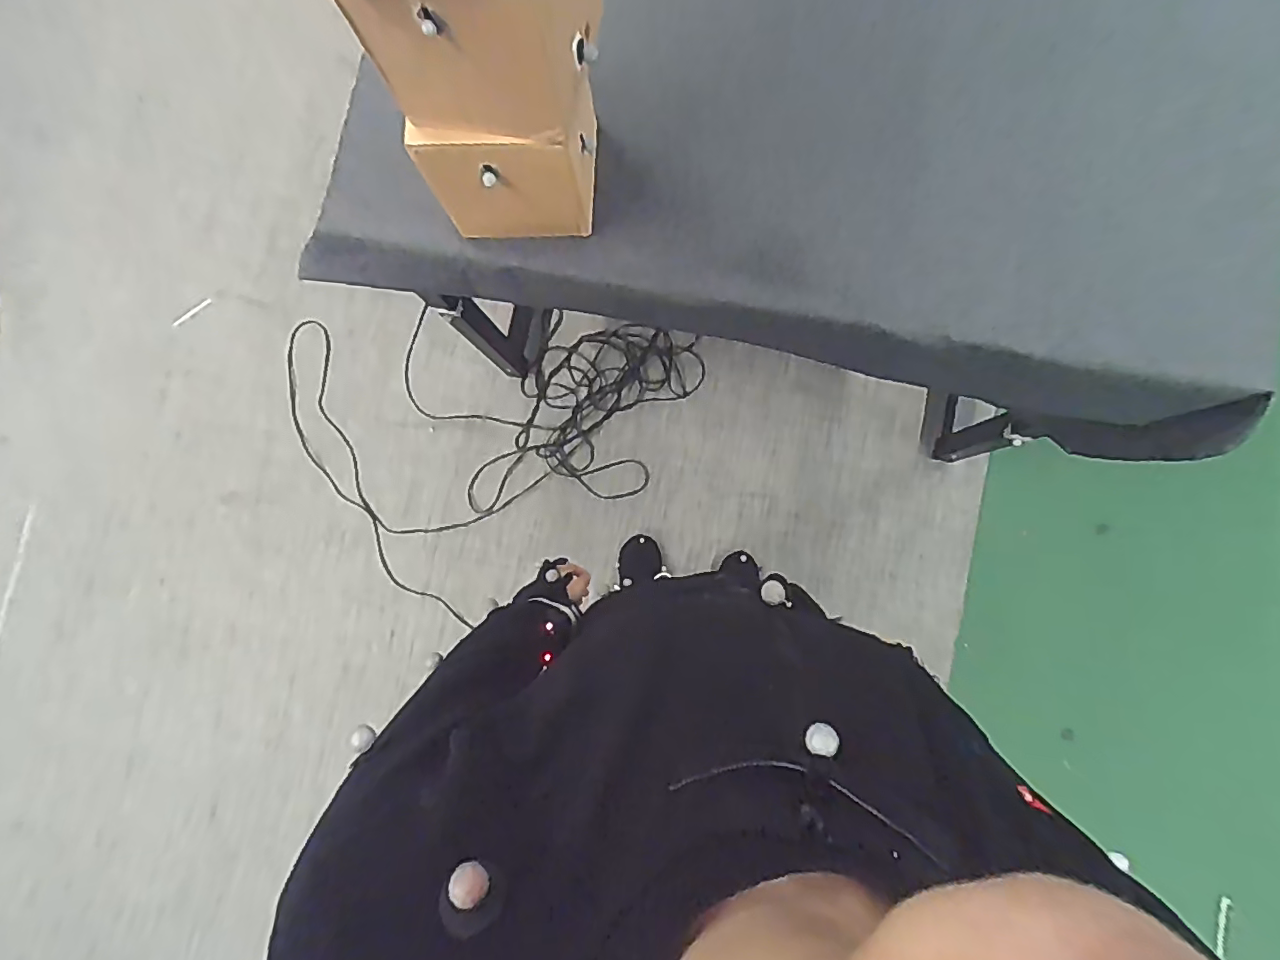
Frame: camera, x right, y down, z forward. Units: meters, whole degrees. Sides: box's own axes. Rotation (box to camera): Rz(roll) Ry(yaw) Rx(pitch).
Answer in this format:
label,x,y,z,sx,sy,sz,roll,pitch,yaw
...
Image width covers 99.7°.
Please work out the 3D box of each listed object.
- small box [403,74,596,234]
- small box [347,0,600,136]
label,x,y,z,sx,sy,sz,roll,pitch,yaw
small box,-0.149,-0.412,0.637,0.179,0.176,0.168,2,83,5
small box,-0.144,-0.442,0.477,0.179,0.176,0.168,11,85,5
